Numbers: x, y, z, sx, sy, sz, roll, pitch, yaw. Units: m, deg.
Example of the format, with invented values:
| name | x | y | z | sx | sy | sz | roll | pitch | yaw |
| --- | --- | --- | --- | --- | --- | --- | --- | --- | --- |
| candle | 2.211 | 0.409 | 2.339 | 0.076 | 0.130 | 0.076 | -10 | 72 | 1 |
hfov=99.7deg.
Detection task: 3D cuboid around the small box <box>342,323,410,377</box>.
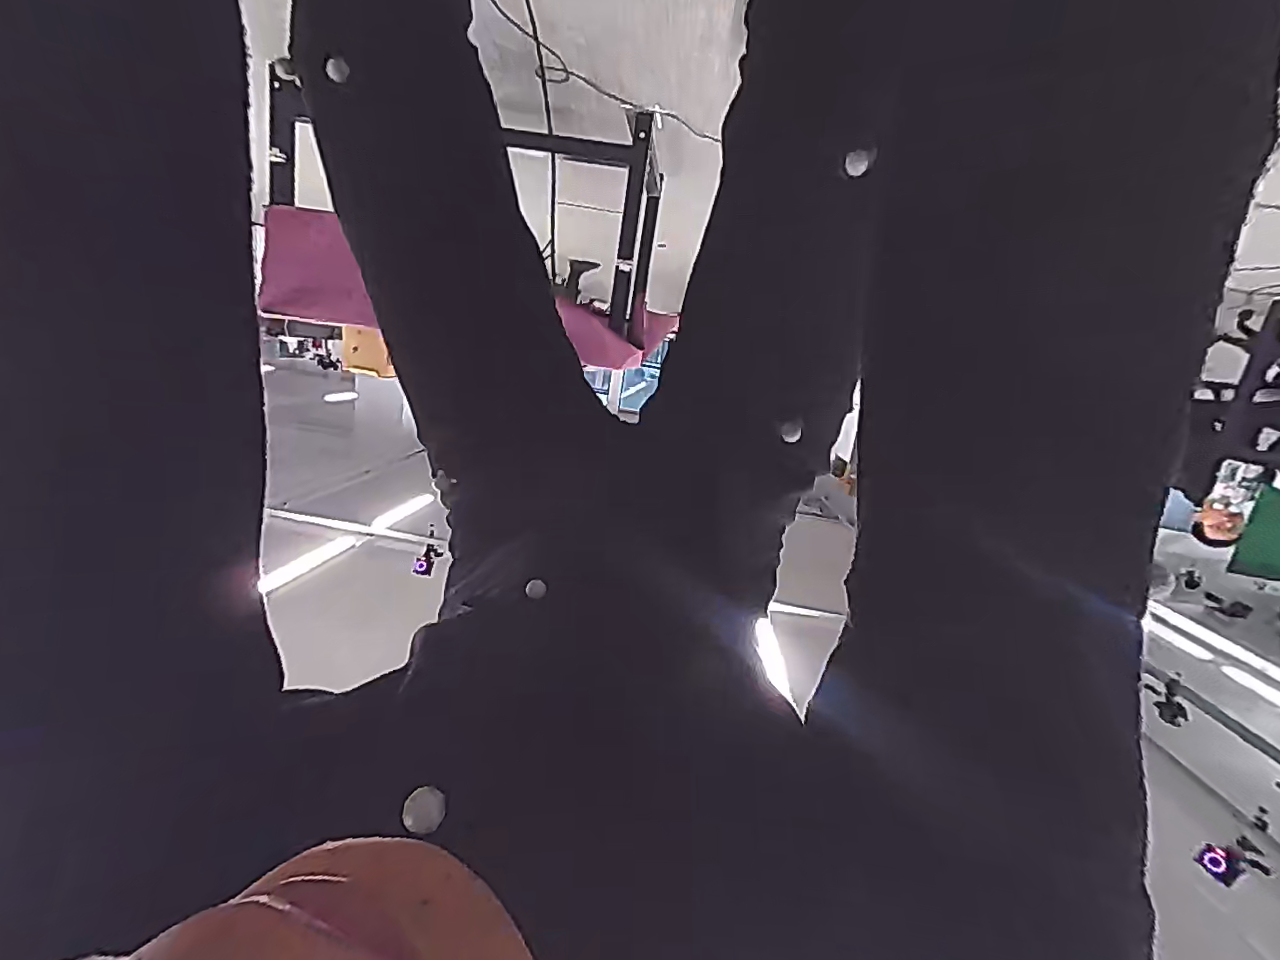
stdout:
| name | x | y | z | sx | sy | sz | roll | pitch | yaw |
| --- | --- | --- | --- | --- | --- | --- | --- | --- | --- |
| small box | -0.960 | -0.475 | 1.971 | 0.168 | 0.176 | 0.179 | 10 | -166 | 1 |
